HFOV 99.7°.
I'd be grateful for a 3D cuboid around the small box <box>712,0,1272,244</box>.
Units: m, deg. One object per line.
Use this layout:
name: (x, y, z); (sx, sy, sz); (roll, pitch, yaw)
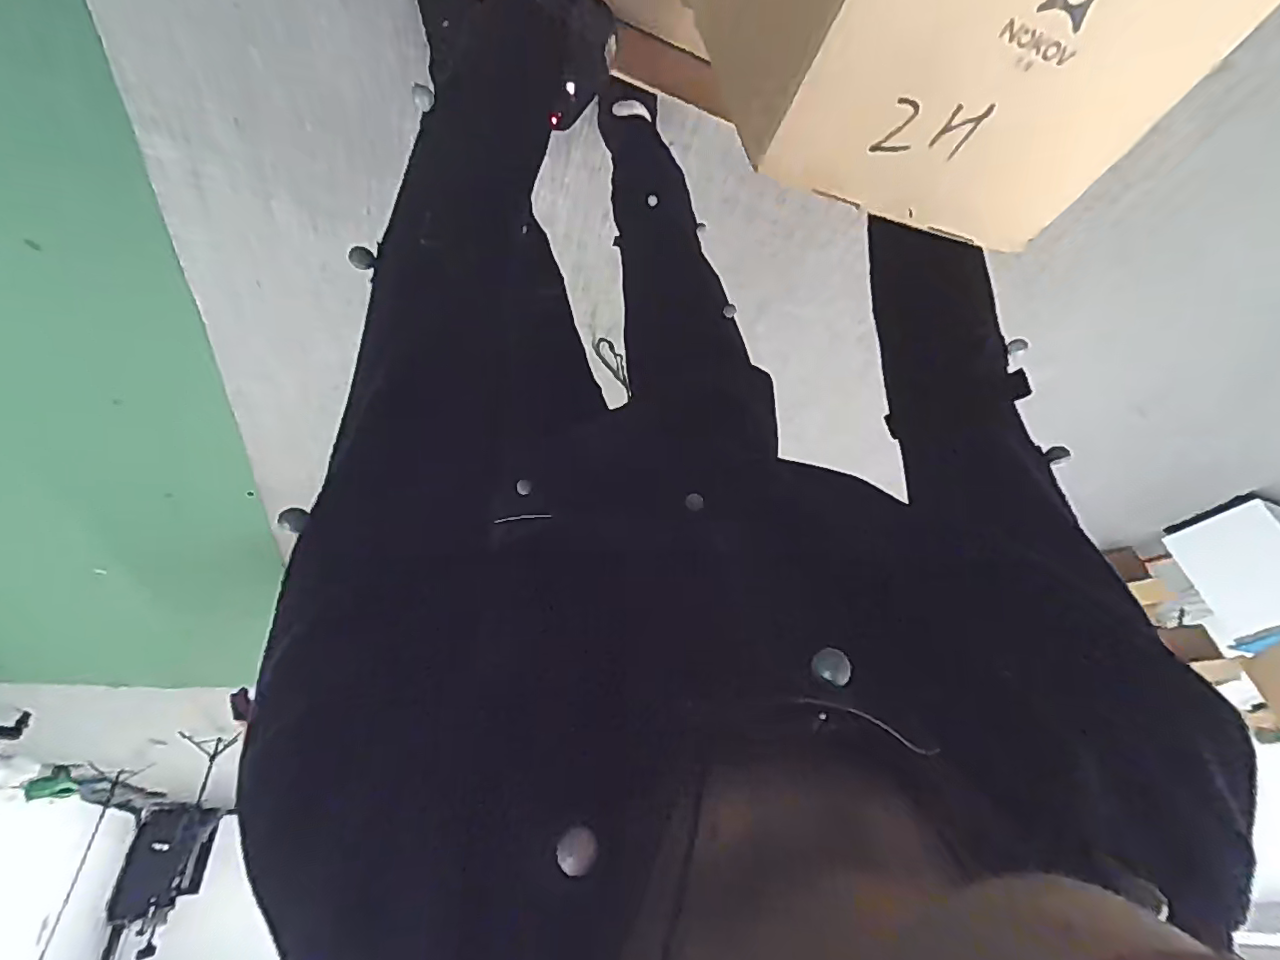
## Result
small box: (0.144, -0.245, 0.234); (0.168, 0.176, 0.179); (6, 147, -20)
